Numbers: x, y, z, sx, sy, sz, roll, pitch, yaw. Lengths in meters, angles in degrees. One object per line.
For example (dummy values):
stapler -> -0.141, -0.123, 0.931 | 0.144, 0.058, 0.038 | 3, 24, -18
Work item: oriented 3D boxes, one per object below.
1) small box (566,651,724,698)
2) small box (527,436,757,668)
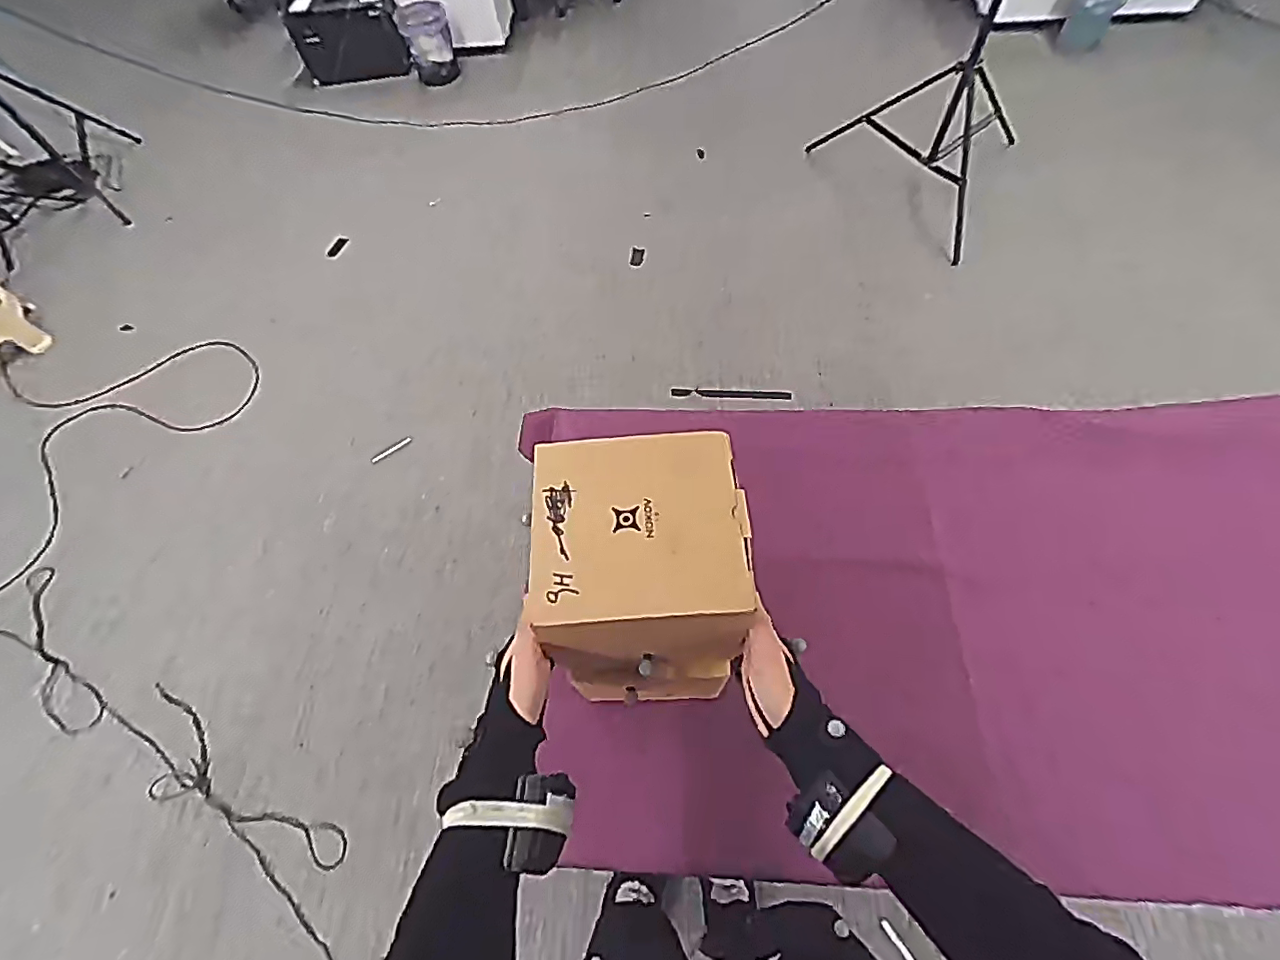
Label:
small box -> 0.009, 0.163, 0.655 | 0.168, 0.176, 0.179 | -3, 60, 2
small box -> -0.002, 0.074, 0.511 | 0.179, 0.176, 0.168 | -3, 59, -1
